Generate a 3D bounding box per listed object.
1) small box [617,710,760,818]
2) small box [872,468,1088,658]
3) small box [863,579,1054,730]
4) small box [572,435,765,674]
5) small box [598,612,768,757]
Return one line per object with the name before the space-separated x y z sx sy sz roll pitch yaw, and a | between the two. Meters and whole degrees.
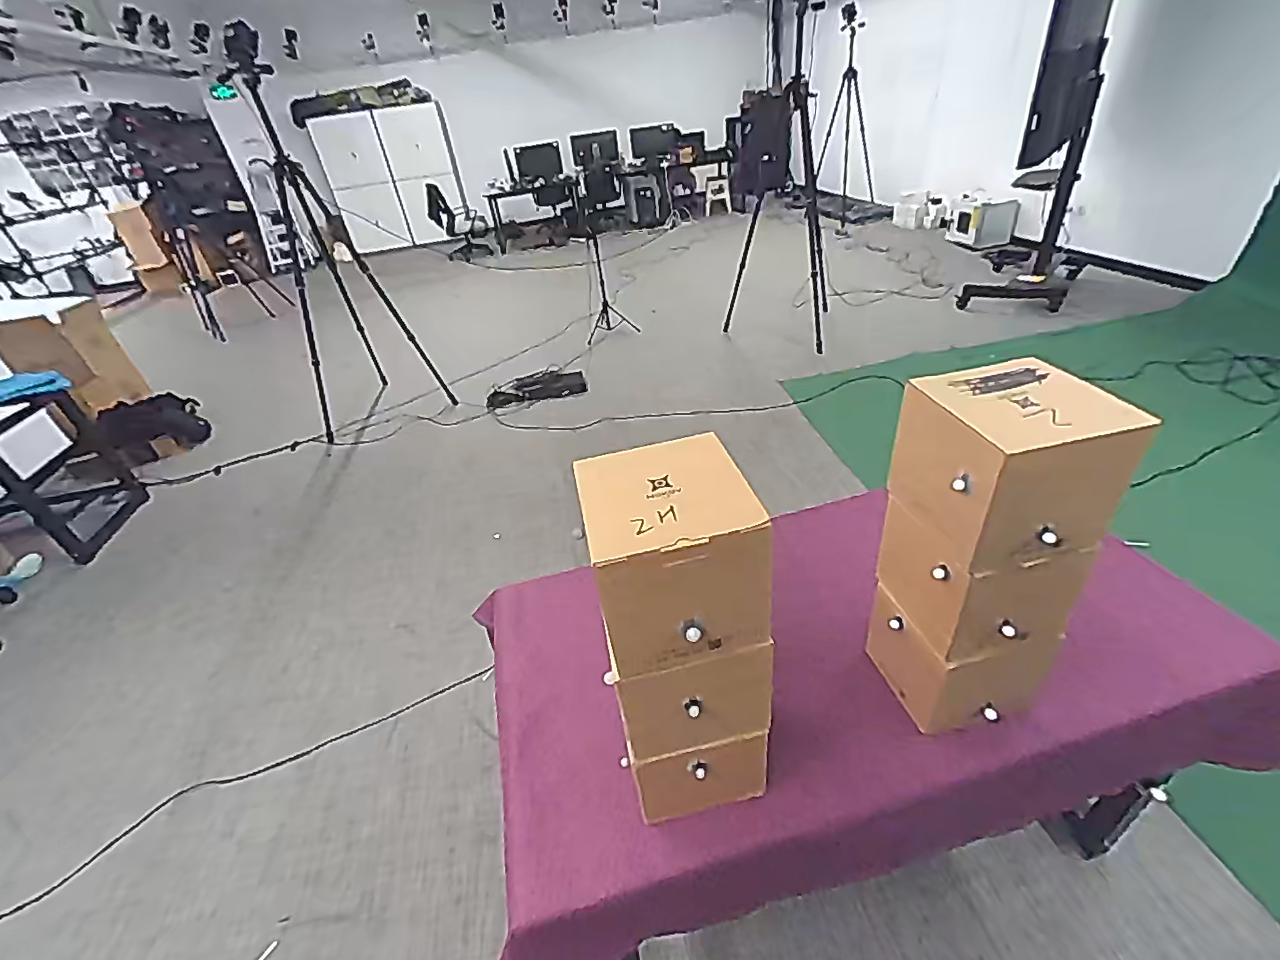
small box | 0.063 0.349 0.774 0.179 0.176 0.168 -11 36 -5
small box | 0.444 0.111 0.744 0.168 0.176 0.179 -12 36 -5
small box | 0.468 0.249 0.828 0.179 0.176 0.168 -12 34 -6
small box | 0.027 0.077 0.593 0.168 0.176 0.179 -13 36 -5
small box | 0.049 0.214 0.683 0.179 0.176 0.168 -14 36 -4
